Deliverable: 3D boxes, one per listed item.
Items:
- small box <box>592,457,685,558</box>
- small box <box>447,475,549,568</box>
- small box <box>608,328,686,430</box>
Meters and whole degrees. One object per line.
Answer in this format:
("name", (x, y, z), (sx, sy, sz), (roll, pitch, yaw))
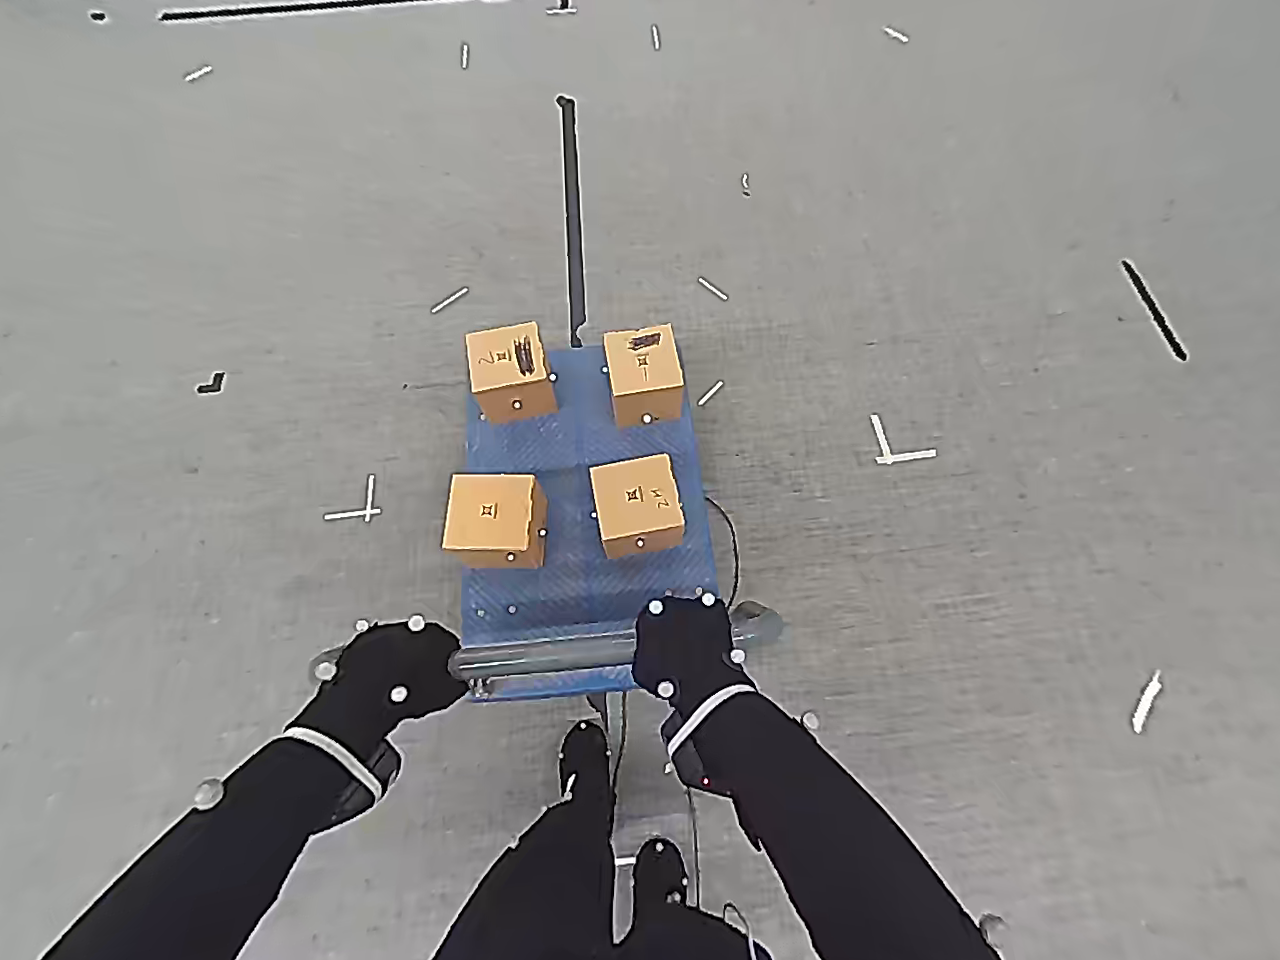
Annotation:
("small box", (-0.002, 0.068, 1.212), (0.179, 0.176, 0.168), (-10, 68, -3))
("small box", (-0.307, 0.097, 1.204), (0.179, 0.176, 0.168), (1, 67, -1))
("small box", (0.015, -0.246, 1.338), (0.168, 0.176, 0.179), (-9, 69, -2))
